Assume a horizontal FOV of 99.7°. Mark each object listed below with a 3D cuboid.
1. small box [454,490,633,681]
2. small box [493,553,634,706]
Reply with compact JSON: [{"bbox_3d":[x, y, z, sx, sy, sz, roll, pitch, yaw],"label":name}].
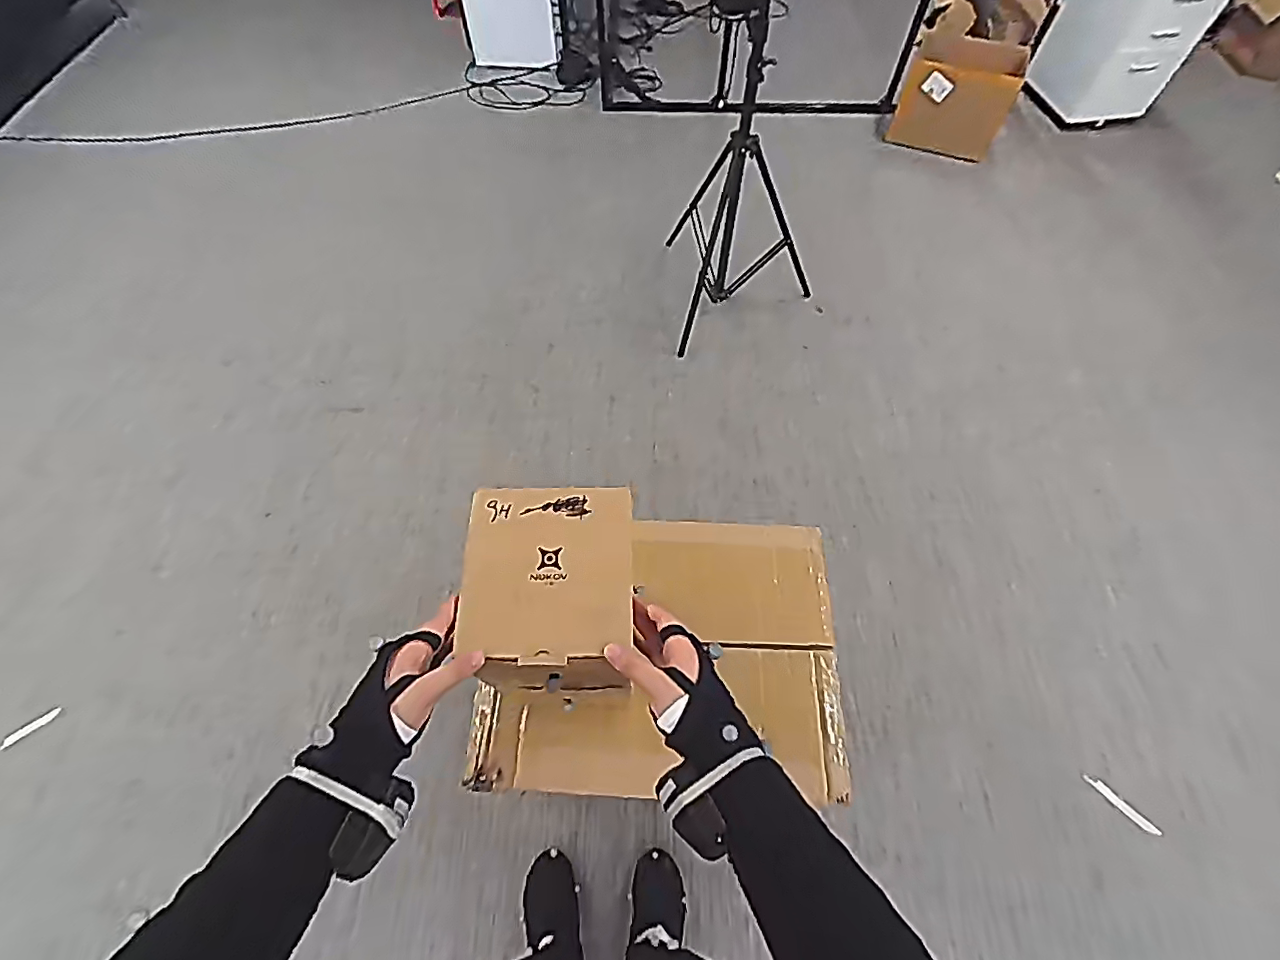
[{"bbox_3d":[-0.091,0.125,0.601,0.168,0.176,0.179,-1,62,-2],"label":"small box"},{"bbox_3d":[-0.093,0.206,0.744,0.168,0.176,0.179,1,61,-1],"label":"small box"}]
